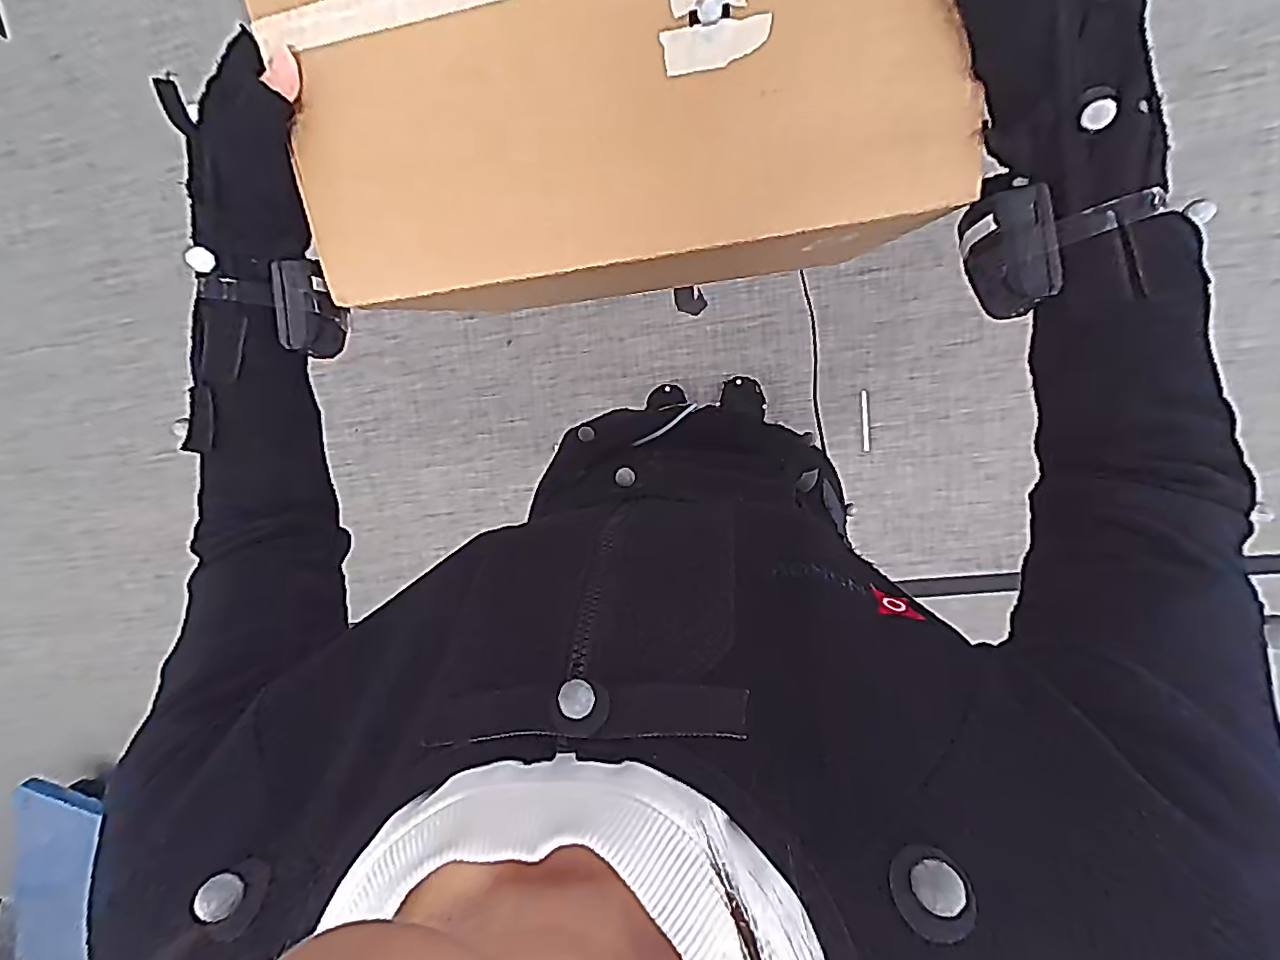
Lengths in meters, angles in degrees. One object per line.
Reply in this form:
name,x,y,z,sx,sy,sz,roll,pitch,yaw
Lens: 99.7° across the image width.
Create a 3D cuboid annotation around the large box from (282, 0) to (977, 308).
large box,-0.006,-0.335,0.447,0.408,0.320,0.320,-6,106,9
